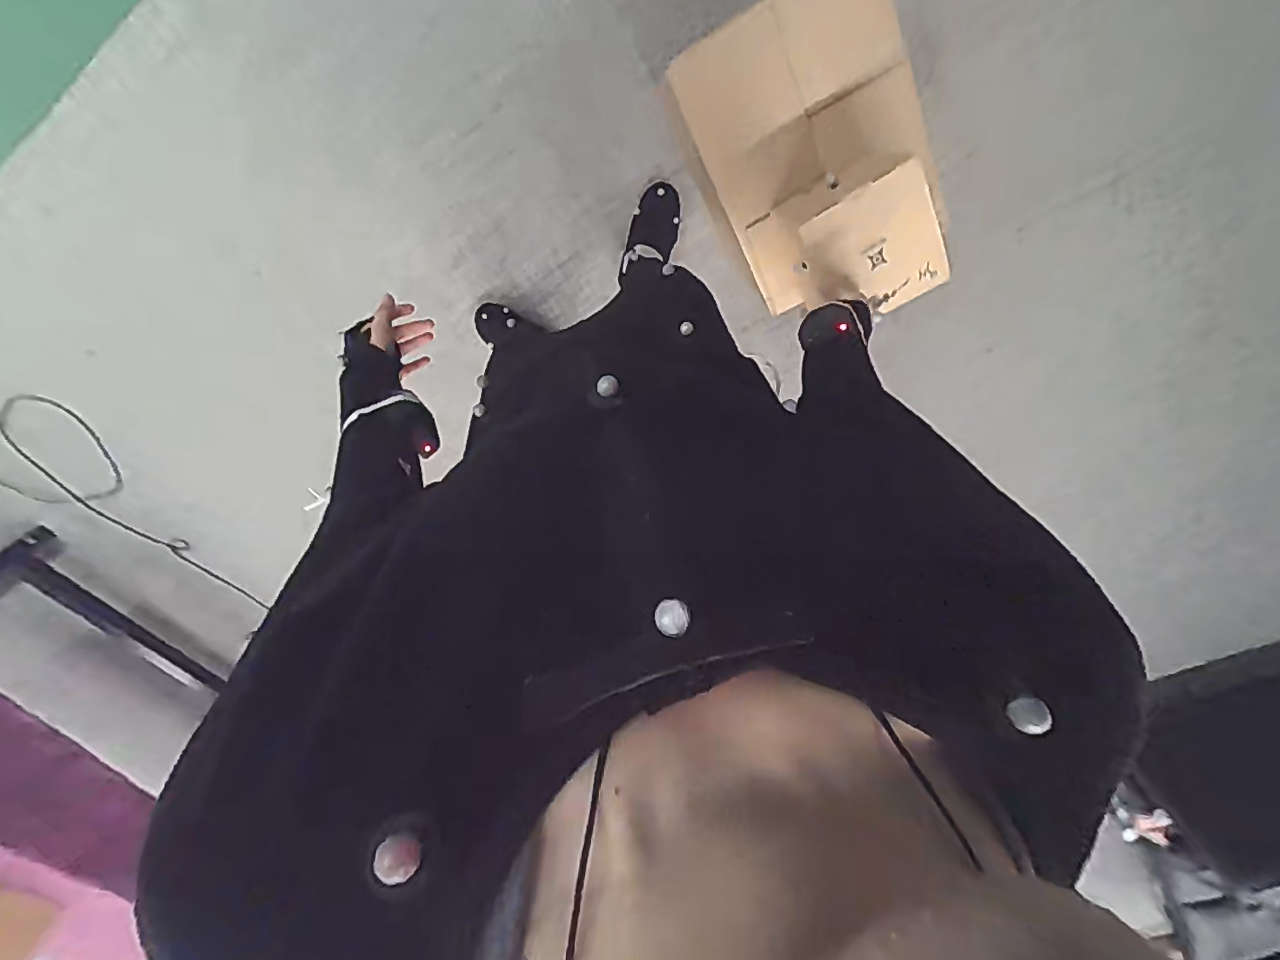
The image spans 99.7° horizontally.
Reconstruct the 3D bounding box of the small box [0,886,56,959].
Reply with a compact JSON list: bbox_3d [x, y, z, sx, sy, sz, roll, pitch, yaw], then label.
[{"bbox_3d":[-1.735,1.211,1.429,0.168,0.176,0.179,-28,116,16],"label":"small box"}]

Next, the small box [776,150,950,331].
[{"bbox_3d":[0.319,-0.354,0.800,0.168,0.176,0.179,-26,118,16],"label":"small box"}]
